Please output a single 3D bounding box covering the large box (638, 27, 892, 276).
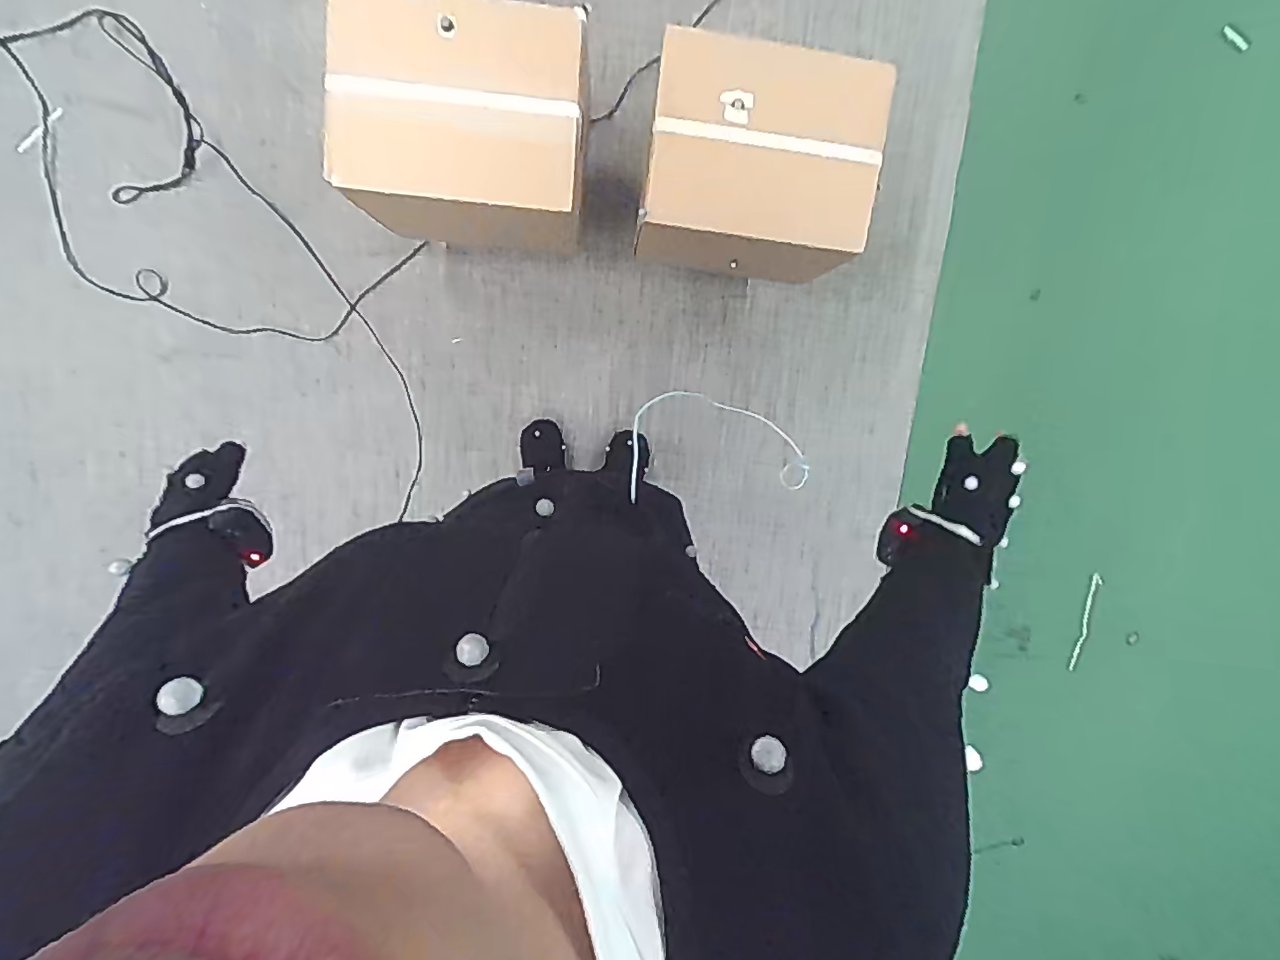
[{"bbox_3d":[0.218,-0.619,1.092,0.408,0.320,0.320,7,99,-5],"label":"large box"}]
